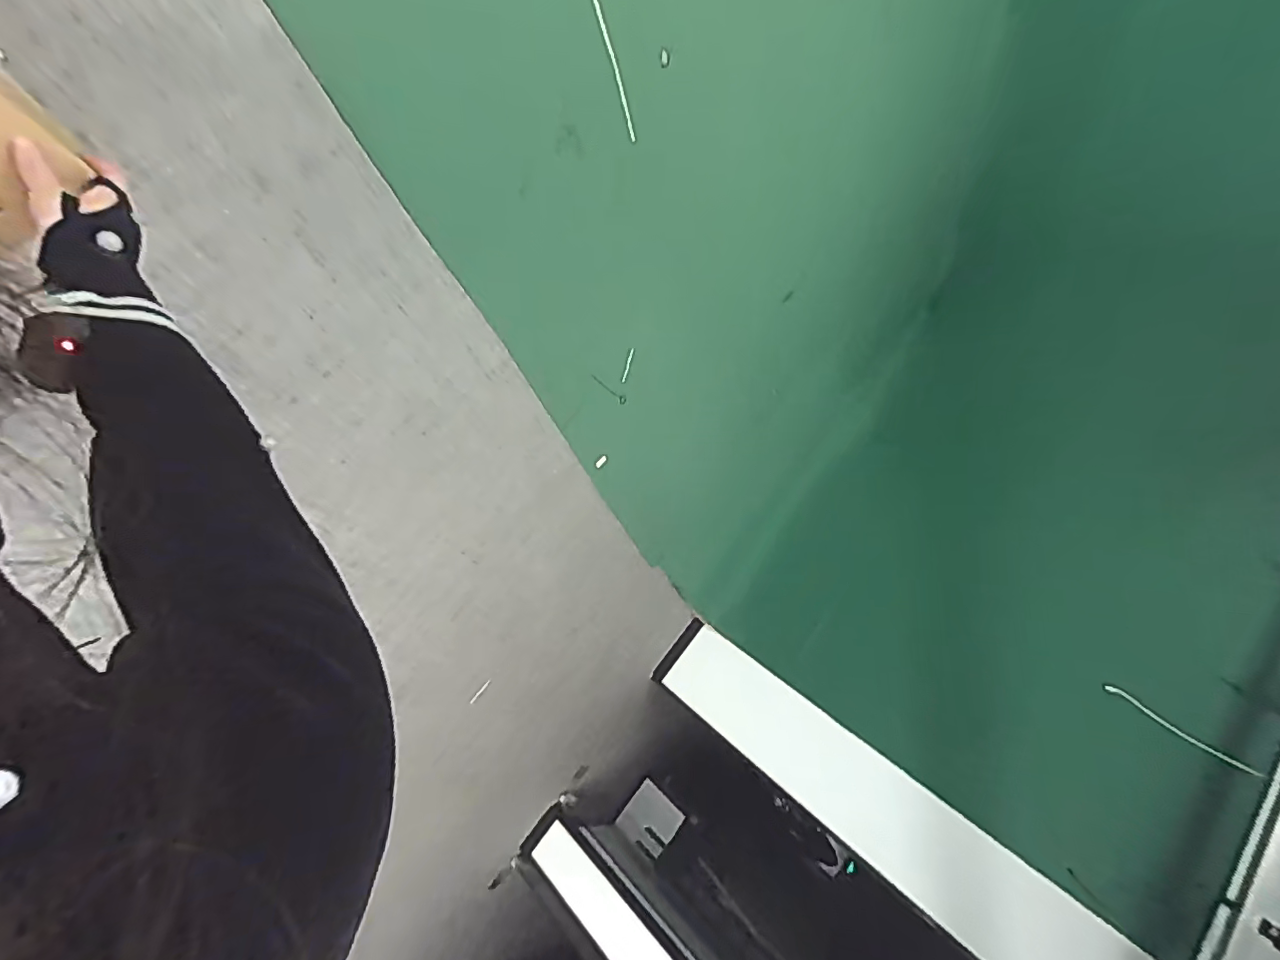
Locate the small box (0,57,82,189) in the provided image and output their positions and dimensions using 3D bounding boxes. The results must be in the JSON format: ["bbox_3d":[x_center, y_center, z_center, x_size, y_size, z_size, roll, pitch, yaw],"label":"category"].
[{"bbox_3d":[-0.734,-0.396,0.537,0.168,0.176,0.179,-49,147,-16],"label":"small box"}]
